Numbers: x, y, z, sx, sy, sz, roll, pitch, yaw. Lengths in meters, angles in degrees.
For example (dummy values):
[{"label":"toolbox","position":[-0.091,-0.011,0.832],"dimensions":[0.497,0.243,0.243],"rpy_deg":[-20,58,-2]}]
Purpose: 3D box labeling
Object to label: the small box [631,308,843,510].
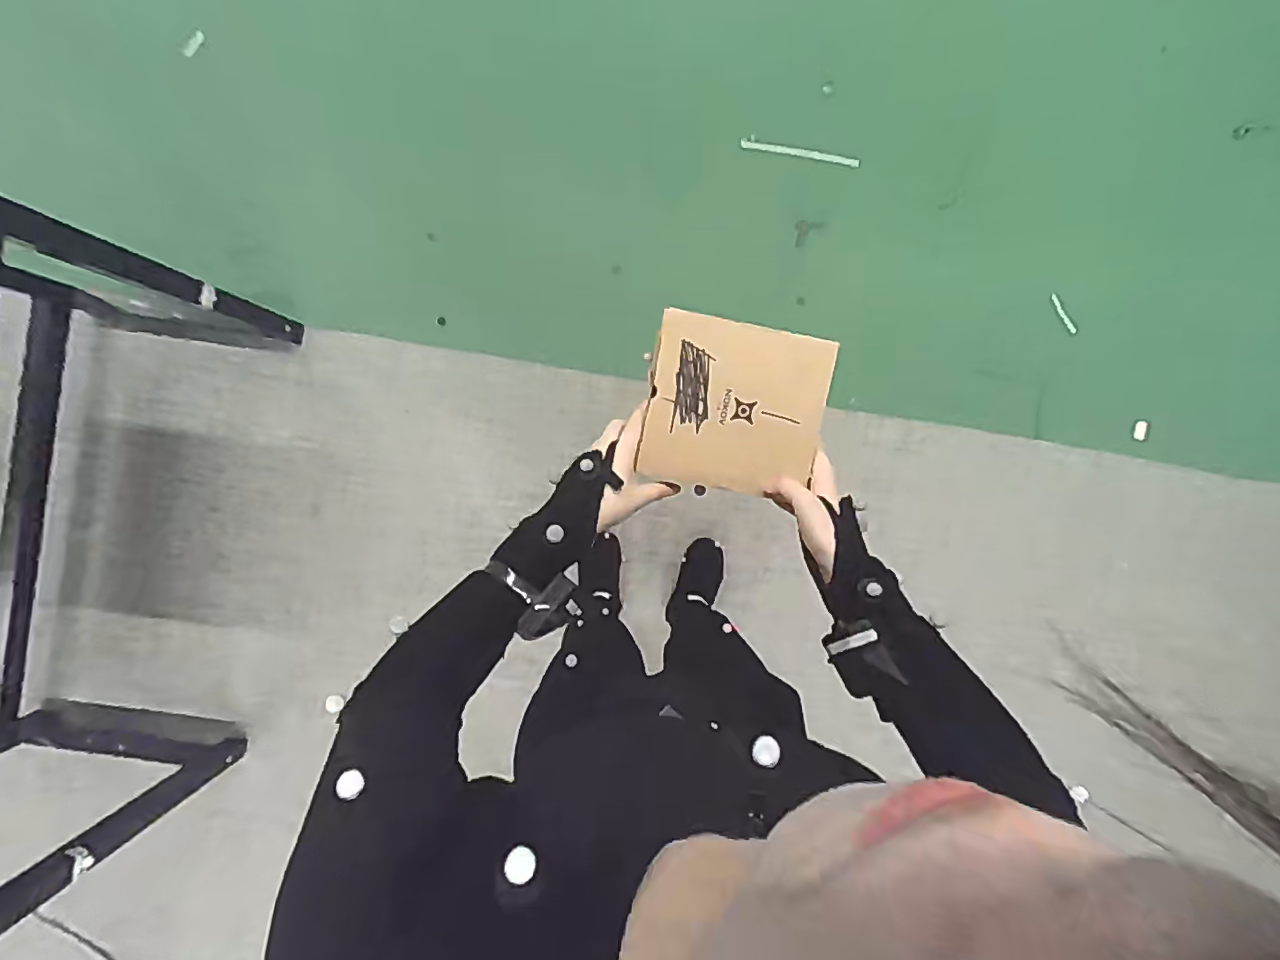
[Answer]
[{"label":"small box","position":[0.091,-0.072,0.592],"dimensions":[0.179,0.176,0.168],"rpy_deg":[11,95,-2]}]
